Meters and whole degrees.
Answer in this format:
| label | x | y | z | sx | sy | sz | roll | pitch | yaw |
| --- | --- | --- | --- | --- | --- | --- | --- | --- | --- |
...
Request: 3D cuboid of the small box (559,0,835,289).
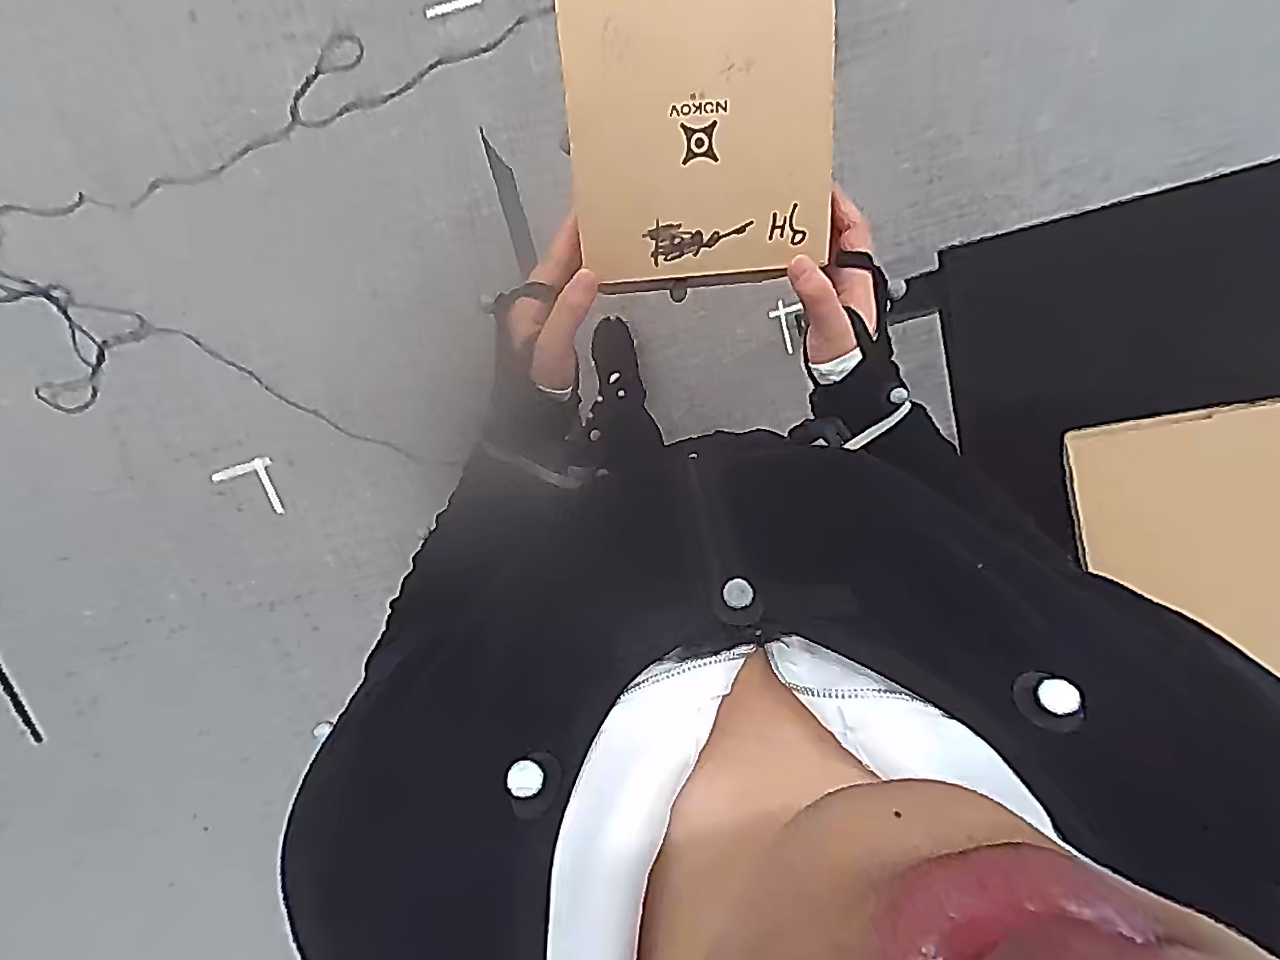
| label | x | y | z | sx | sy | sz | roll | pitch | yaw |
| --- | --- | --- | --- | --- | --- | --- | --- | --- | --- |
| small box | 0.035 | -0.248 | 0.409 | 0.168 | 0.176 | 0.179 | -5 | 106 | 0 |
